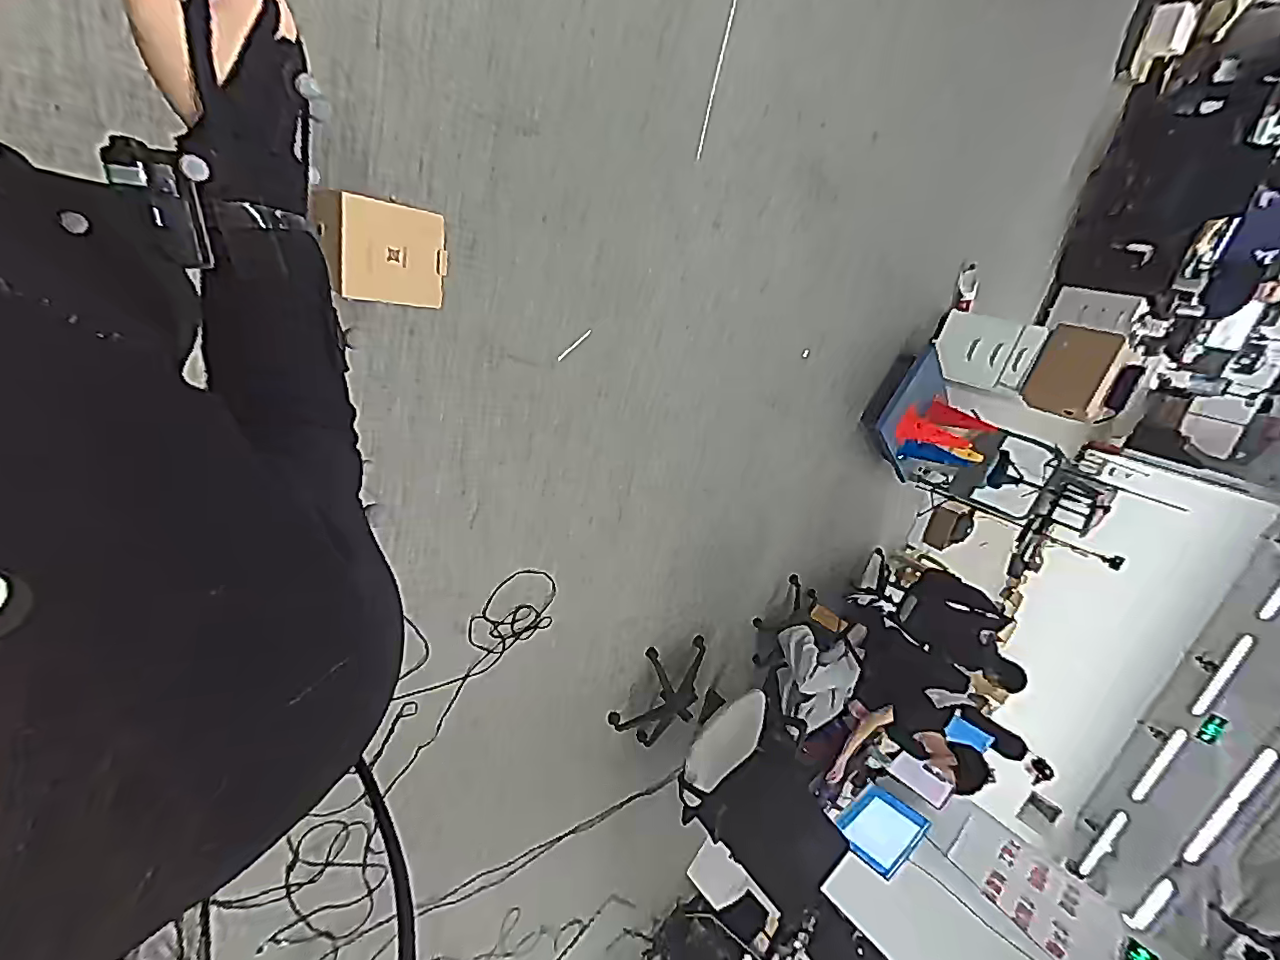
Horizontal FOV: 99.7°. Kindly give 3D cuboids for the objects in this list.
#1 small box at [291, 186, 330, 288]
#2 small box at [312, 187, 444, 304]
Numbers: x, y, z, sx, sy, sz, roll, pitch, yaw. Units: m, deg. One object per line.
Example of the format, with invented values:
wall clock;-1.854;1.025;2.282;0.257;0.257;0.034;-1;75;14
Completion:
small box;-0.596;-0.483;1.098;0.168;0.176;0.179;-8;118;-43
small box;-0.482;-0.430;0.992;0.179;0.176;0.168;-8;118;-42
